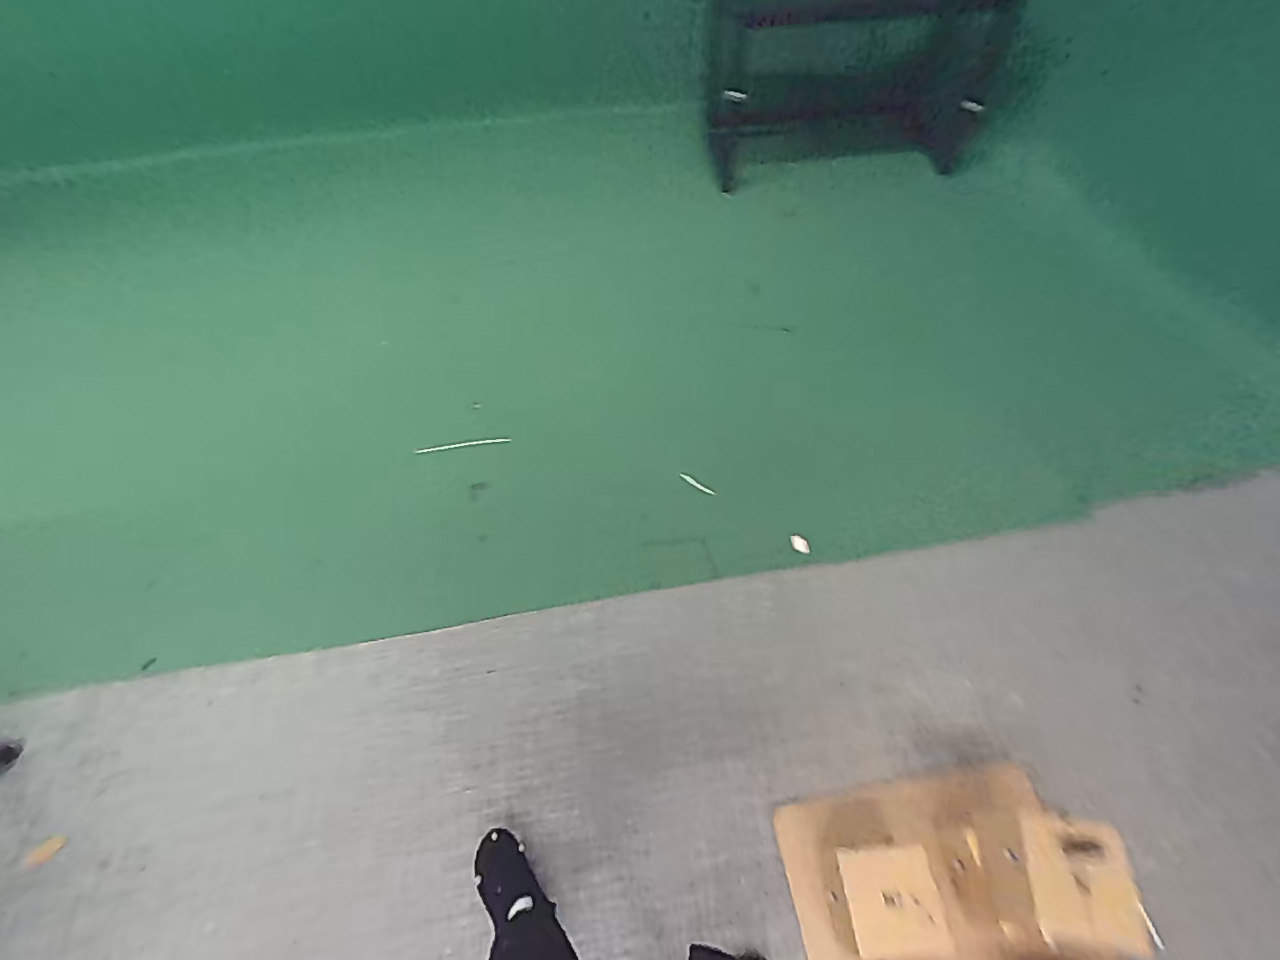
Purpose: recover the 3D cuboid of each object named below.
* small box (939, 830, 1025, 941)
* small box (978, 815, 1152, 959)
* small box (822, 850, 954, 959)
[{"bbox_3d":[0.737,0.805,1.090,0.179,0.176,0.168,-6,56,-3],"label":"small box"},{"bbox_3d":[0.729,0.712,0.954,0.168,0.176,0.179,8,57,7],"label":"small box"},{"bbox_3d":[0.474,0.839,1.074,0.179,0.176,0.168,-3,56,-1],"label":"small box"}]
